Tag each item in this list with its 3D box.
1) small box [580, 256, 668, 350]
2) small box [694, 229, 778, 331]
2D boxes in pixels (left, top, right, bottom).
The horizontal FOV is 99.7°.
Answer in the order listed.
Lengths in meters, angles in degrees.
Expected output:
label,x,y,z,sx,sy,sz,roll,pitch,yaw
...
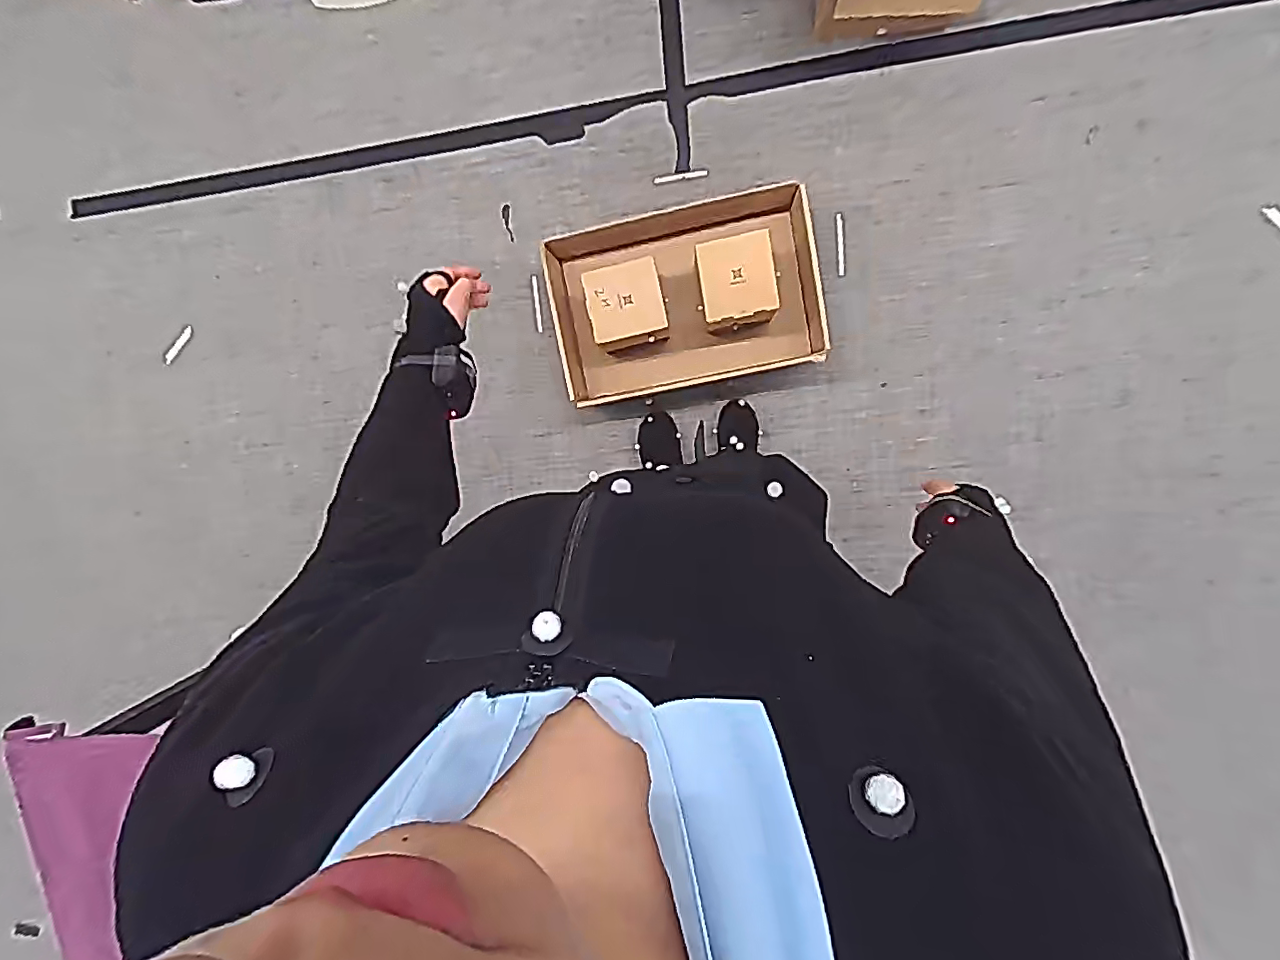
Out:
label,x,y,z,sx,sy,sz,roll,pitch,yaw
small box,-0.033,-0.421,1.312,0.179,0.176,0.168,-12,95,6
small box,0.221,-0.466,1.284,0.168,0.176,0.179,-10,97,7
